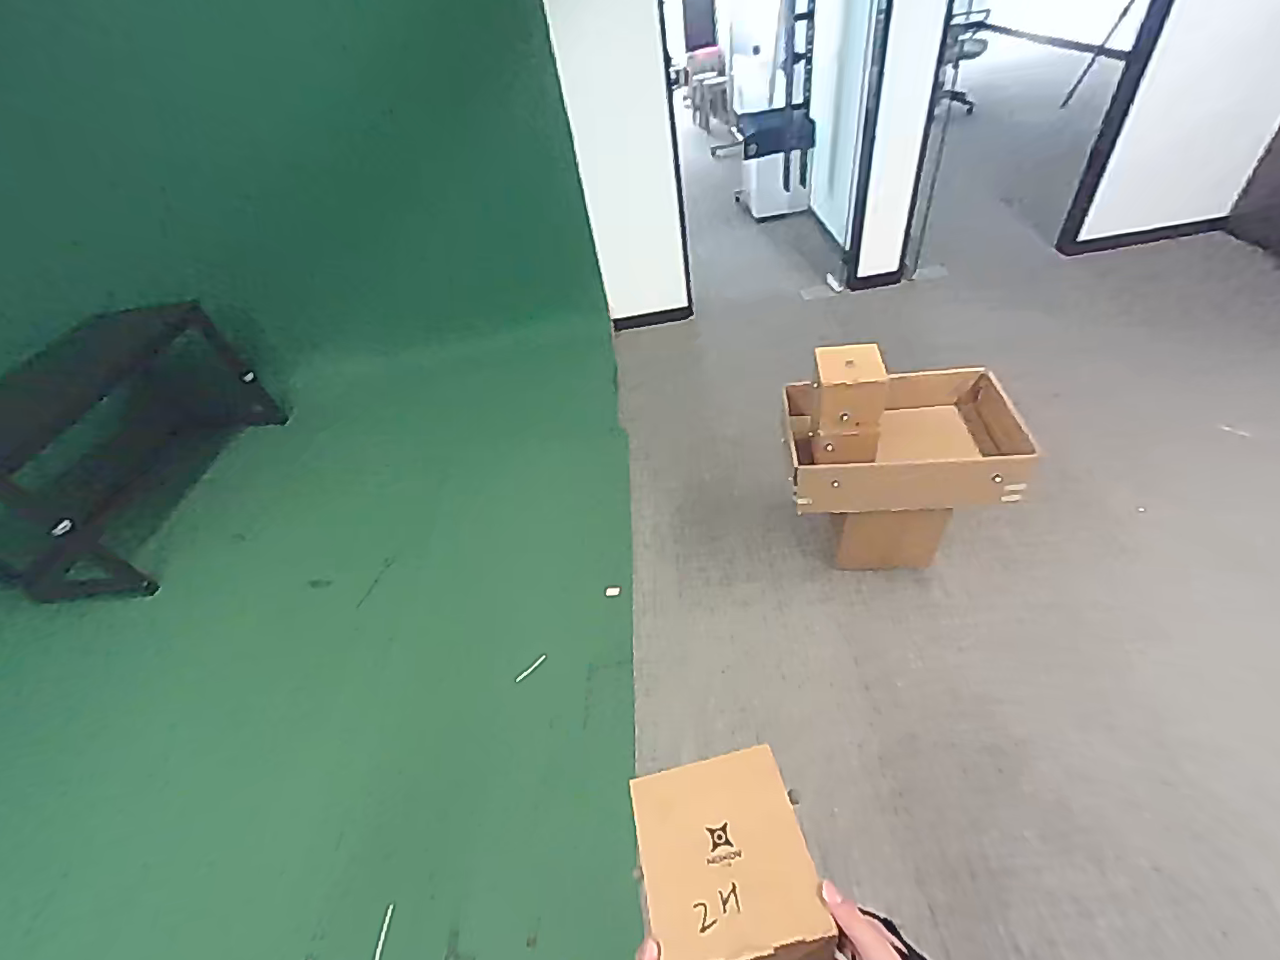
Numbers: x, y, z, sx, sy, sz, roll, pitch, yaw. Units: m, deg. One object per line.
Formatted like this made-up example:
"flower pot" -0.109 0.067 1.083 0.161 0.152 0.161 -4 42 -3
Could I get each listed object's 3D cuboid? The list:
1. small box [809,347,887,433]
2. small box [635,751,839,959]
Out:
"small box" 0.568 -0.249 1.499 0.168 0.176 0.179 -1 46 10
"small box" 0.097 0.436 0.589 0.168 0.176 0.179 -13 37 -1
